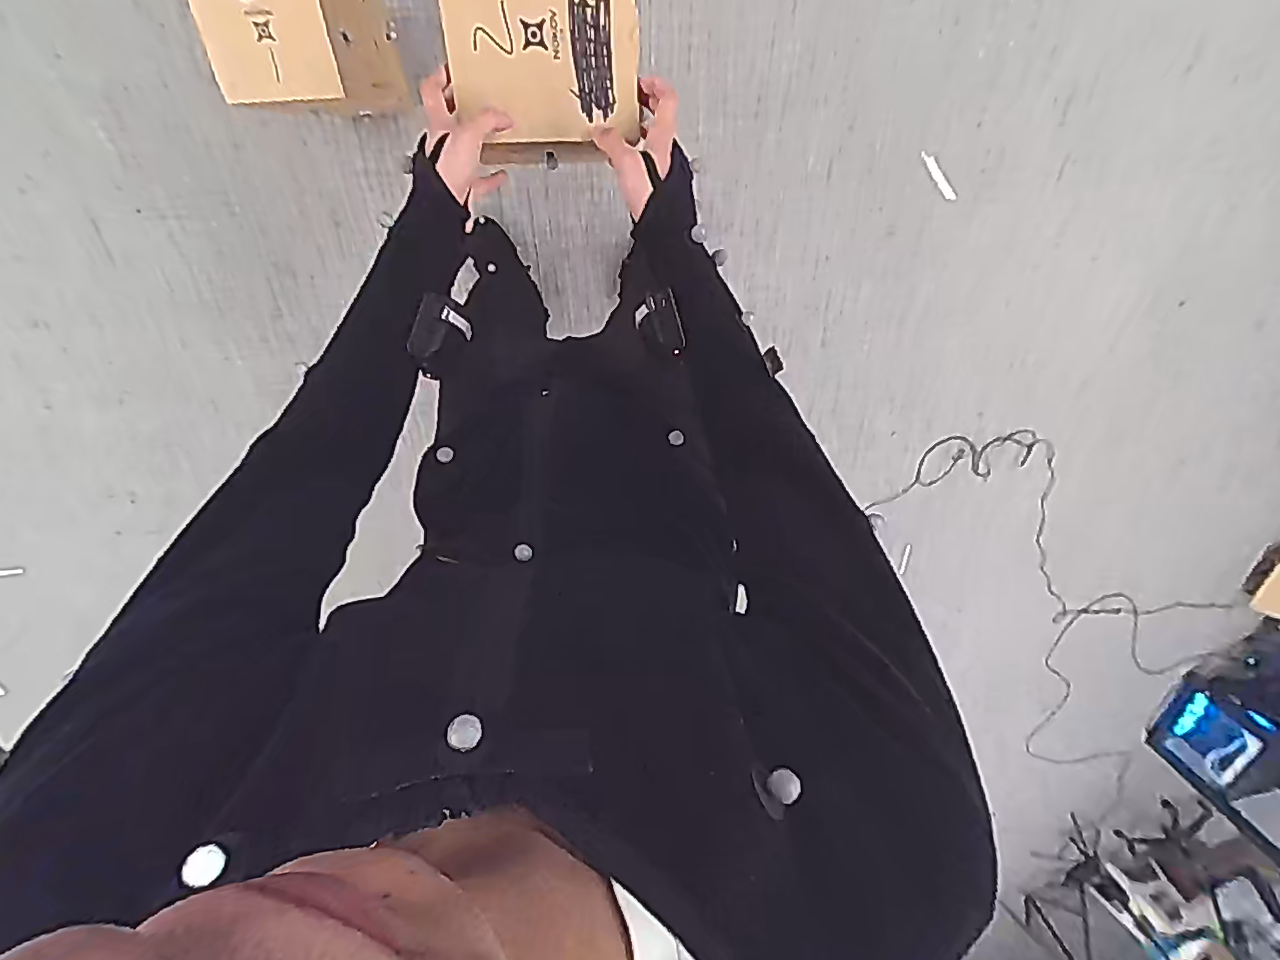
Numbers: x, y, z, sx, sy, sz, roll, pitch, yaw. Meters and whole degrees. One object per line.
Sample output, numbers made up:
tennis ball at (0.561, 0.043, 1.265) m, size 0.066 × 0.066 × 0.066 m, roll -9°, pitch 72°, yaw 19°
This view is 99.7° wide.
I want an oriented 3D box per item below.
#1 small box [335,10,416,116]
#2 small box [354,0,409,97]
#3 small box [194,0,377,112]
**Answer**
small box at (-0.559, -0.833, 1.061) m, size 0.168 × 0.176 × 0.179 m, roll -9°, pitch 121°, yaw -5°
small box at (-0.521, -0.757, 0.920) m, size 0.179 × 0.176 × 0.168 m, roll -10°, pitch 121°, yaw -4°
small box at (-0.510, -0.653, 0.790) m, size 0.168 × 0.176 × 0.179 m, roll -6°, pitch 121°, yaw -5°
